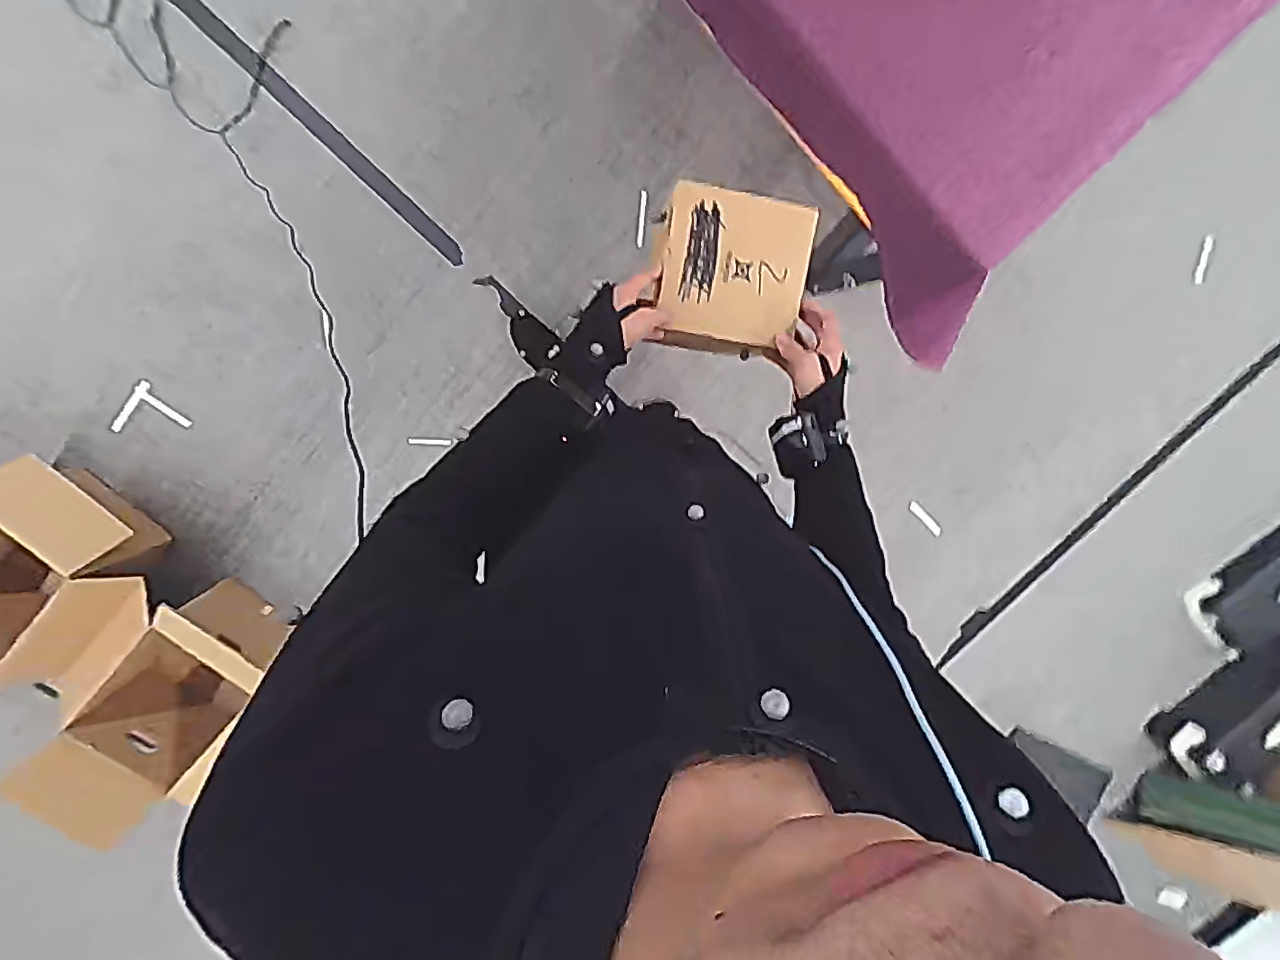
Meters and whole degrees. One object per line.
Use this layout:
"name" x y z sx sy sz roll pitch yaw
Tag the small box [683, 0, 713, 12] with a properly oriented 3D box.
"small box" 0.131 -1.160 1.142 0.179 0.176 0.168 39 99 -15
